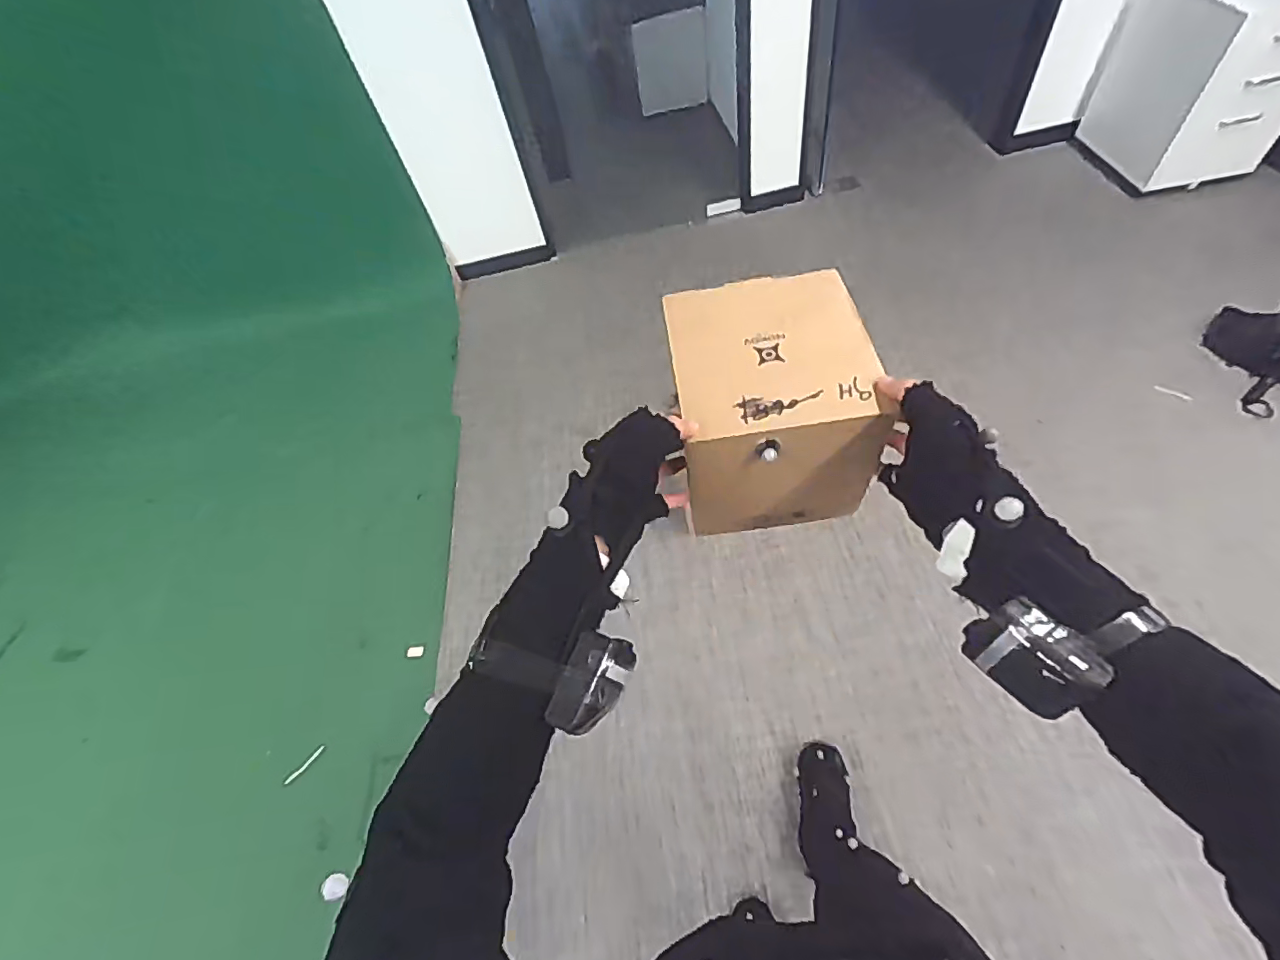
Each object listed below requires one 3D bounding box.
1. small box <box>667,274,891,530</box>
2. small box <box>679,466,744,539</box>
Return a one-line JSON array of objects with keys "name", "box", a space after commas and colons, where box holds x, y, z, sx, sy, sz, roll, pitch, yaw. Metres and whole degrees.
[{"name": "small box", "box": [0.120, -0.072, 0.539, 0.168, 0.176, 0.179, -8, 56, 4]}, {"name": "small box", "box": [0.219, 0.058, 1.617, 0.179, 0.176, 0.168, -10, 53, 6]}]
